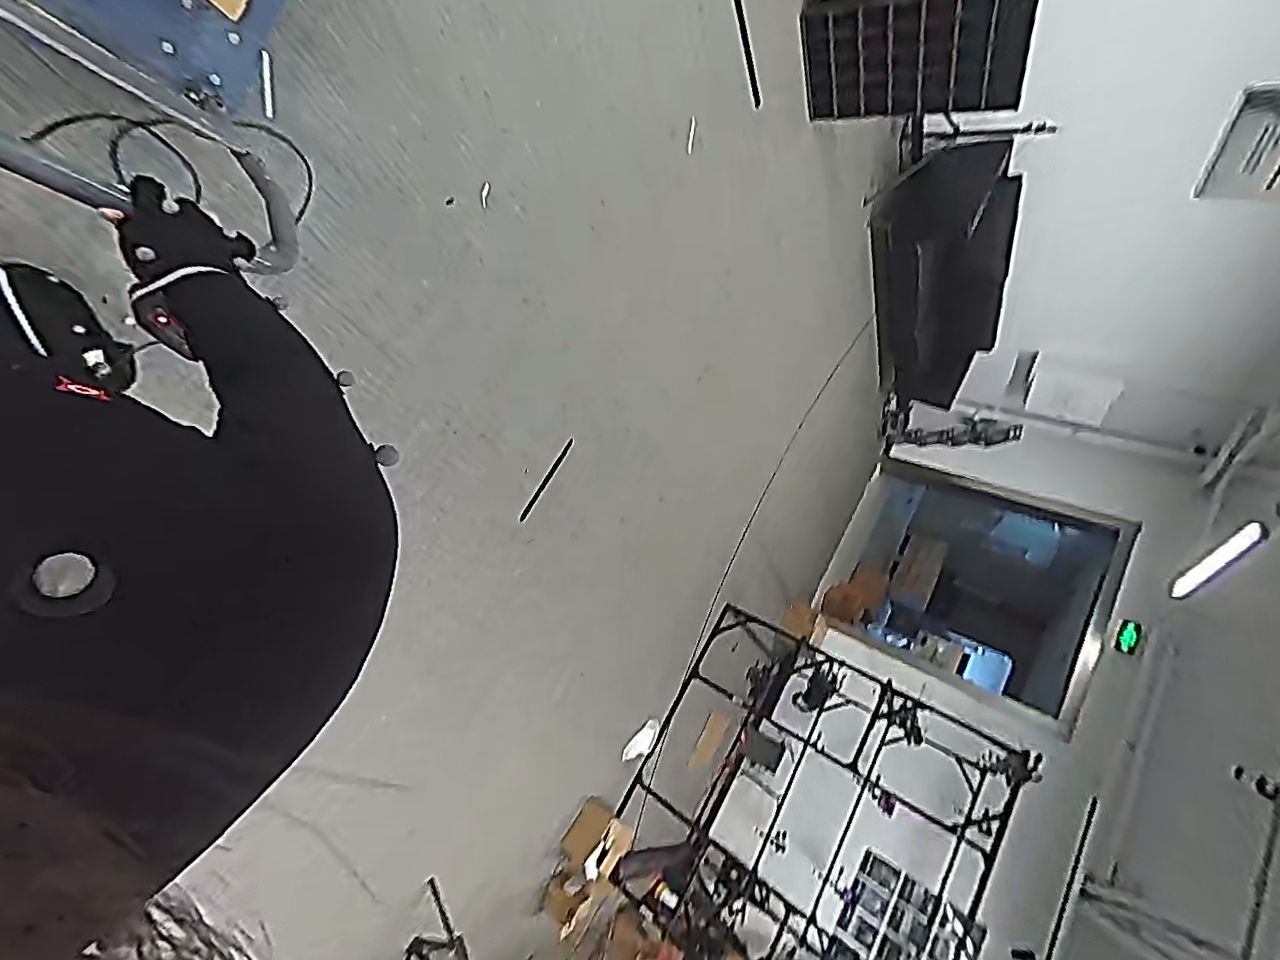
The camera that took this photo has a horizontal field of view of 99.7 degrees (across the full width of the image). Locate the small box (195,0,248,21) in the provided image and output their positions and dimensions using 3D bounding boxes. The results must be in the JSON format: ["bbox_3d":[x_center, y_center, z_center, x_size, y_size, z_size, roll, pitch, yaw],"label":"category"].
[{"bbox_3d":[-0.676,-0.839,0.802,0.168,0.176,0.179,-51,149,6],"label":"small box"}]
